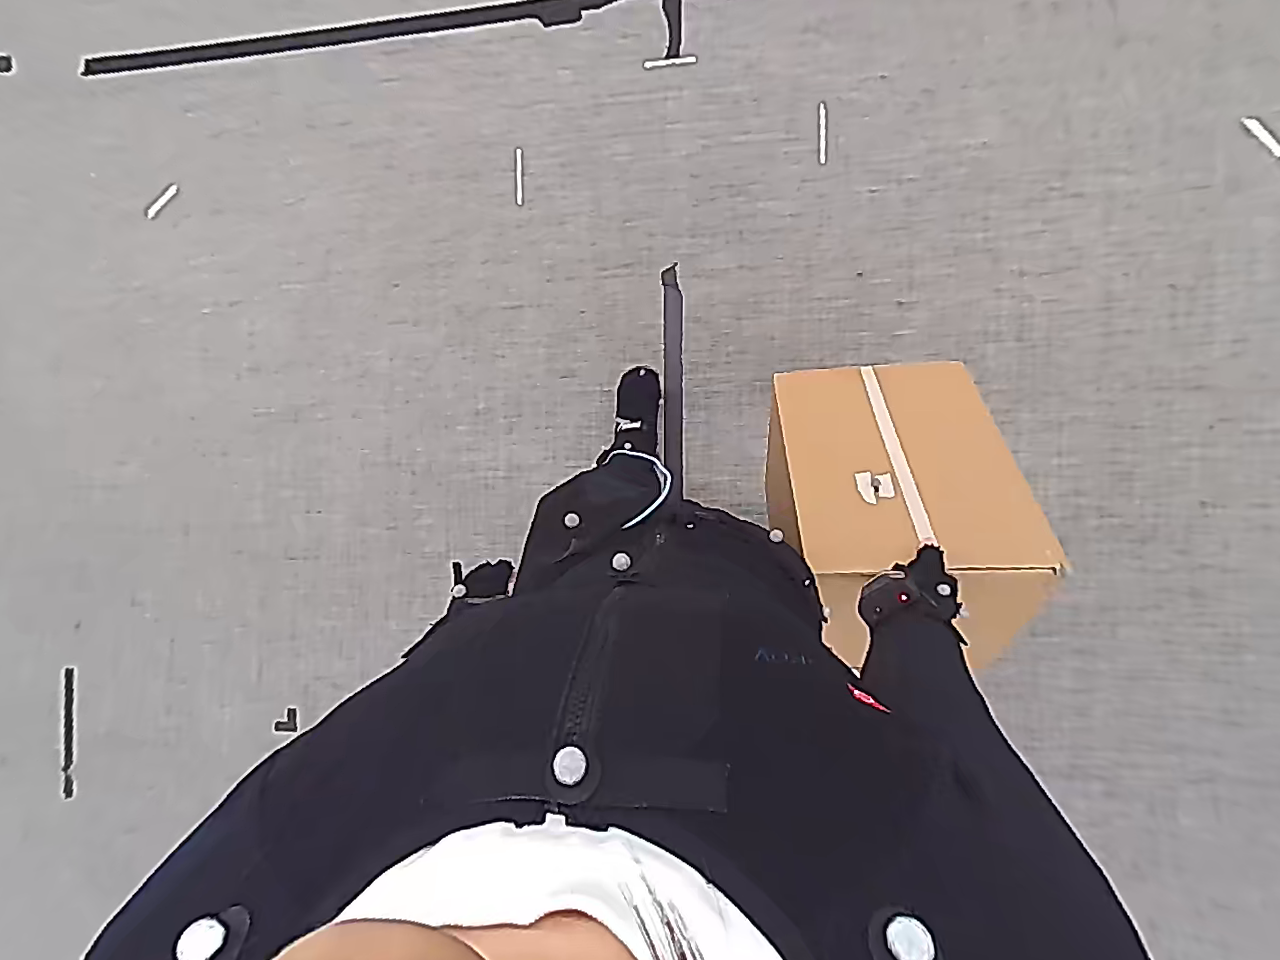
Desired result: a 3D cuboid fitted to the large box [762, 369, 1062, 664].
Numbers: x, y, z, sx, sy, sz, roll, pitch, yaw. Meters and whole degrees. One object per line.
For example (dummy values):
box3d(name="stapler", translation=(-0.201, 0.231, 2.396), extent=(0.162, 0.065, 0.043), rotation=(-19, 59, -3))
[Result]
box3d(name="large box", translation=(0.394, 0.064, 0.923), extent=(0.320, 0.320, 0.408), rotation=(-3, 50, 7))
